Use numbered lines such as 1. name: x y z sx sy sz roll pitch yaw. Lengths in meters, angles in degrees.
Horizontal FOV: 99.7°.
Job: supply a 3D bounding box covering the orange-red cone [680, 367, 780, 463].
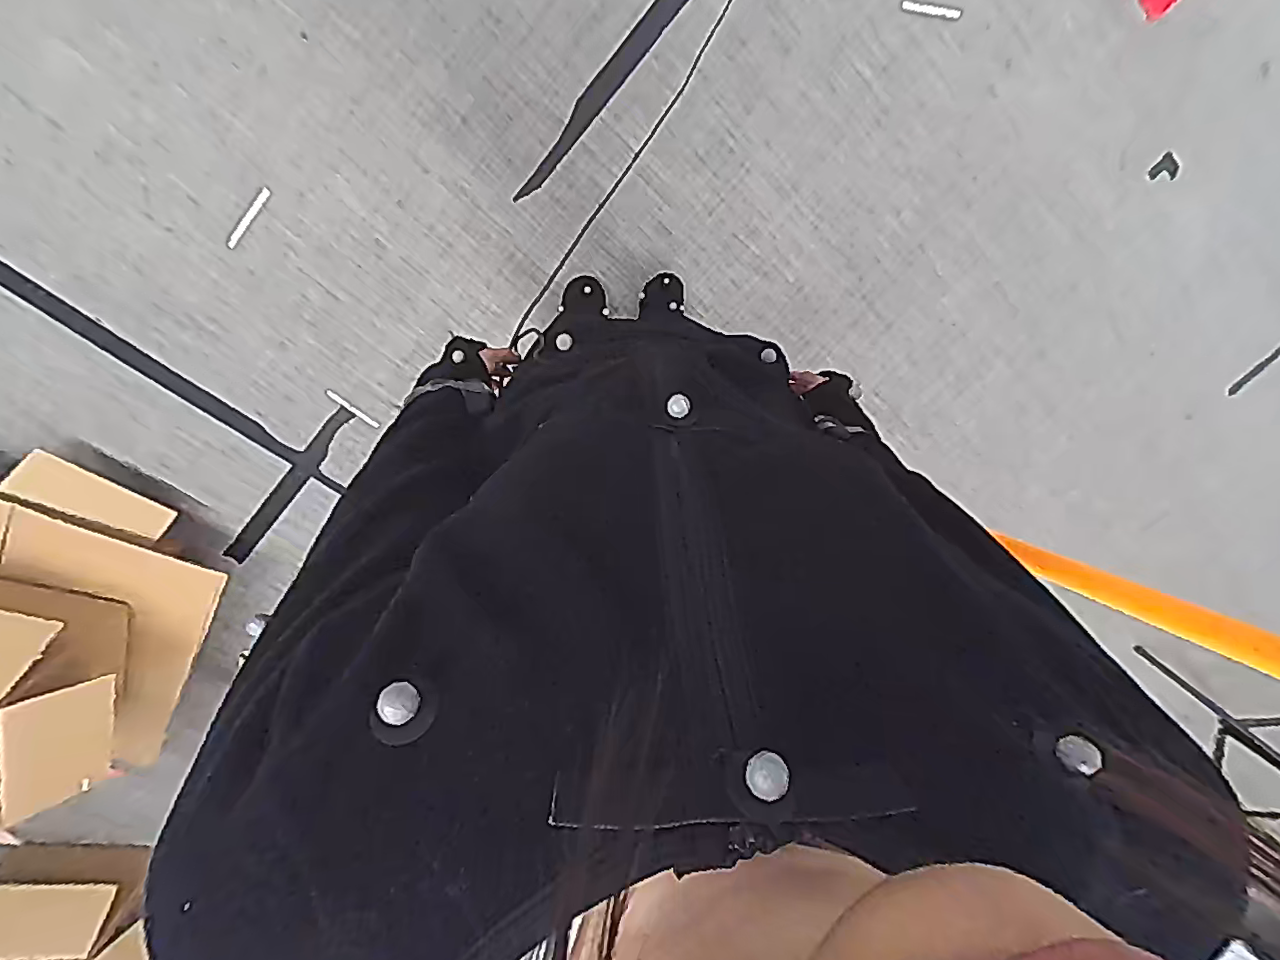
1. orange-red cone: 0.248 -0.110 1.264 0.199 0.360 0.198 -44 110 10
